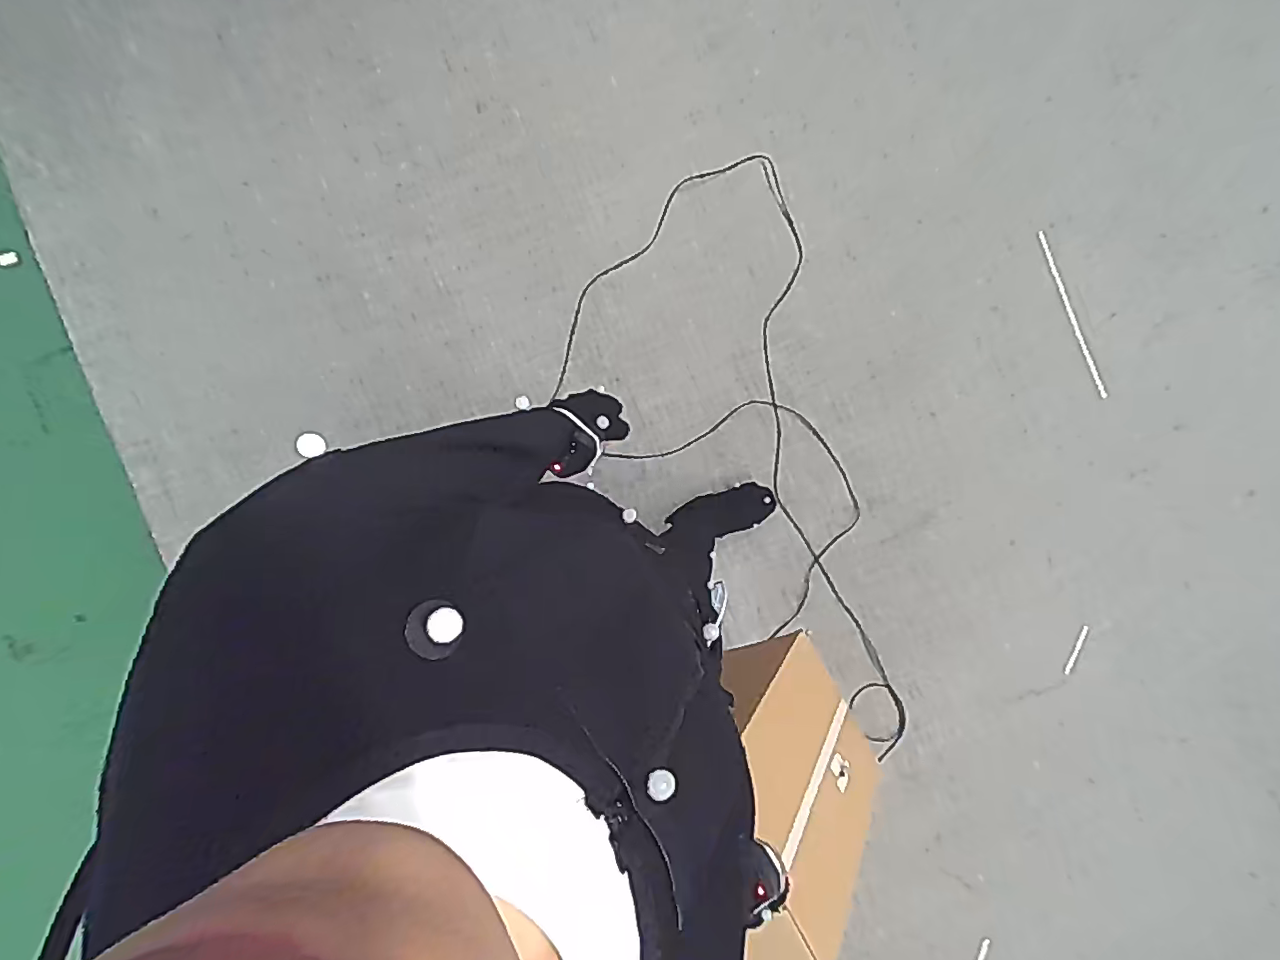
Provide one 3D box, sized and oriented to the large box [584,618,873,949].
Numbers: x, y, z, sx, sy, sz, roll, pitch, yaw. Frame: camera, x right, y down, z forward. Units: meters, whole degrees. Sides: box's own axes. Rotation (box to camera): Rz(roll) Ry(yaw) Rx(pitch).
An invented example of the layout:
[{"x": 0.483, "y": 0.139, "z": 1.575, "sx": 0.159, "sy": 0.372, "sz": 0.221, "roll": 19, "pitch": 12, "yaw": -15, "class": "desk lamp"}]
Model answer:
[{"x": 0.175, "y": 0.519, "z": 0.986, "sx": 0.320, "sy": 0.408, "sz": 0.320, "roll": -28, "pitch": 90, "yaw": 36, "class": "large box"}]
